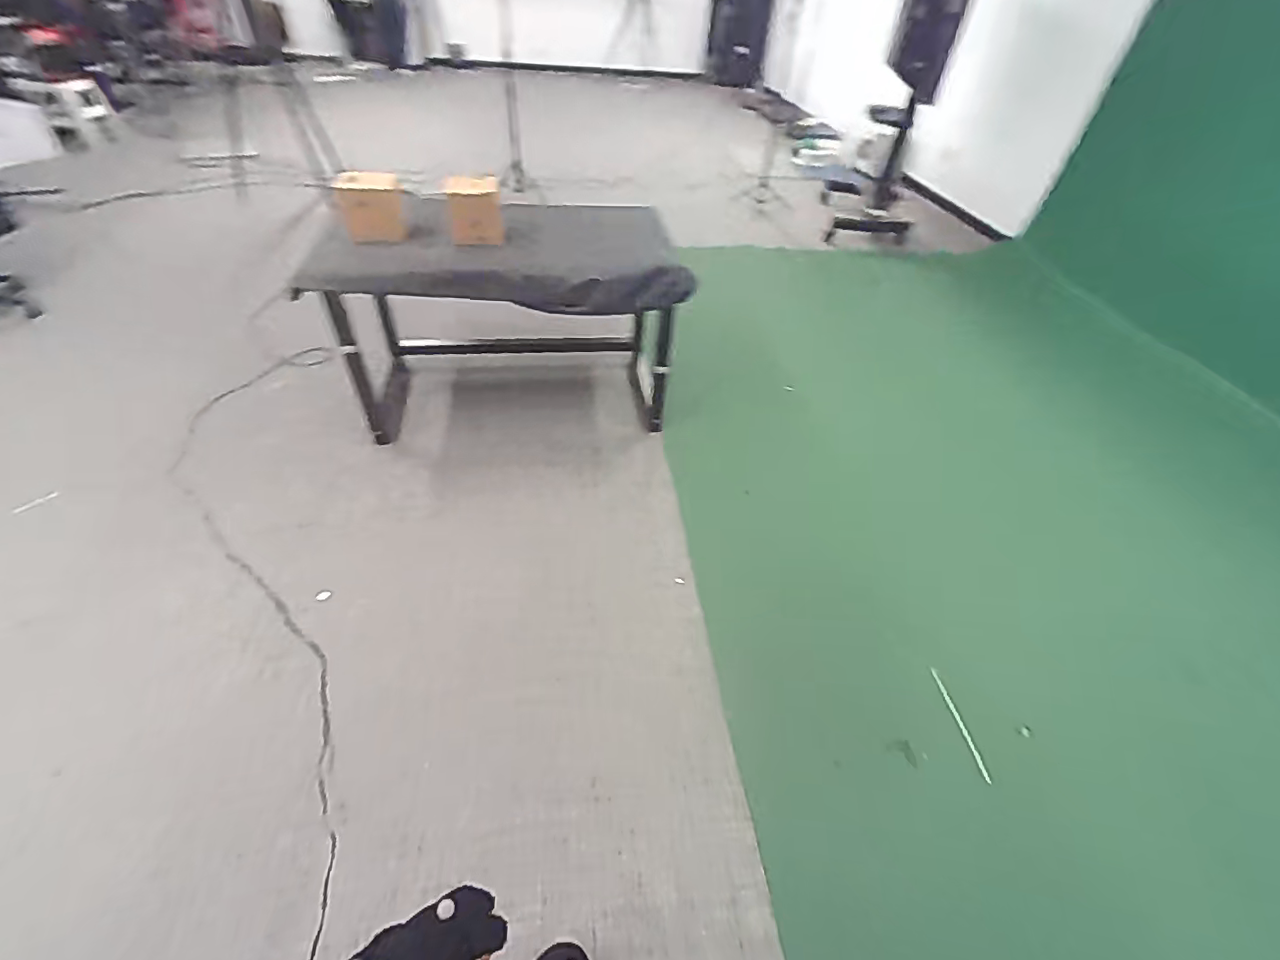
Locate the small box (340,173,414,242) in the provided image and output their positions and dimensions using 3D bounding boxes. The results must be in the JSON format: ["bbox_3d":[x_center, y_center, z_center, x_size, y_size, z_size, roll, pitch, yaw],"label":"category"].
[{"bbox_3d":[-0.878,-0.917,1.822,0.179,0.176,0.168,-3,45,-11],"label":"small box"}]

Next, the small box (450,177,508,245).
[{"bbox_3d":[-0.550,-0.926,1.867,0.168,0.176,0.179,-2,45,-8],"label":"small box"}]
